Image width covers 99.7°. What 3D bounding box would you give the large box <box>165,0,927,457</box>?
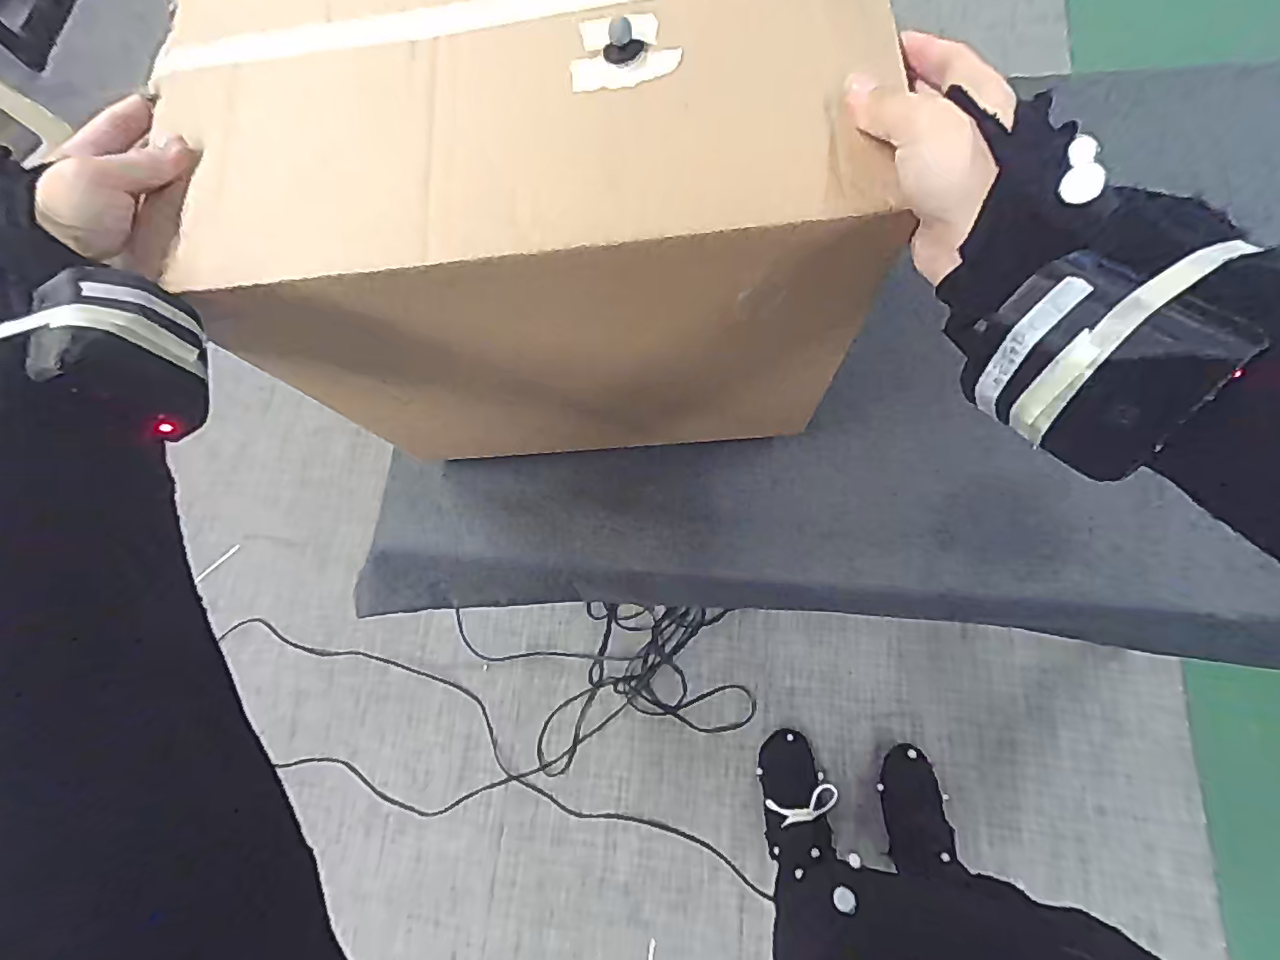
[{"bbox_3d":[-0.054,-0.222,0.456,0.408,0.320,0.320,-4,76,4],"label":"large box"}]
